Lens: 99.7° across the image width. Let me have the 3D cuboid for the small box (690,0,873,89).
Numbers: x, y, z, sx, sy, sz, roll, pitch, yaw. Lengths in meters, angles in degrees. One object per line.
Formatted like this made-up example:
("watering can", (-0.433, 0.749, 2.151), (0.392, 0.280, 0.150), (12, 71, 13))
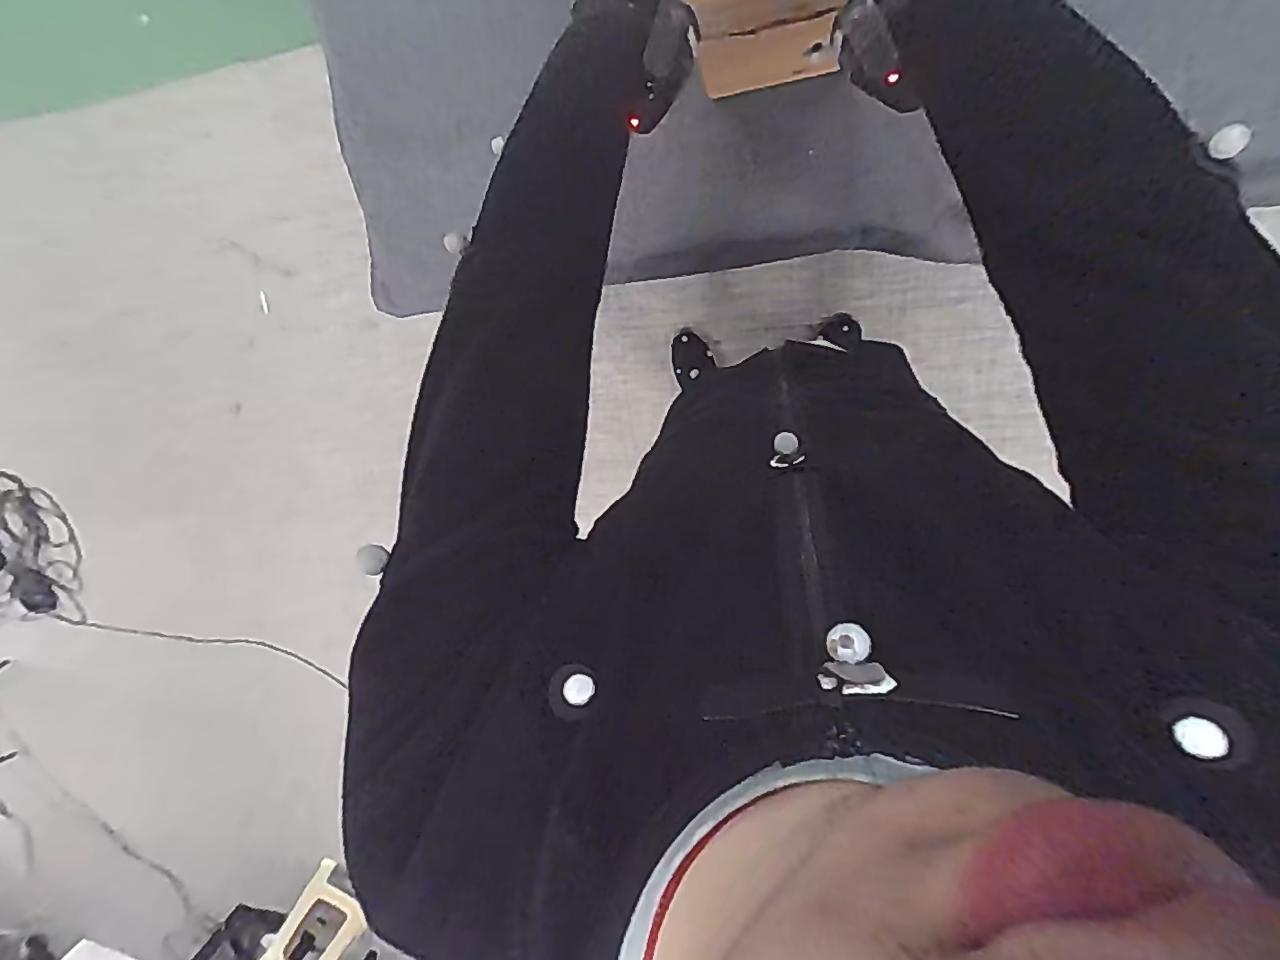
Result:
("small box", (0.135, -0.524, 0.542), (0.168, 0.176, 0.179), (-4, 109, 13))

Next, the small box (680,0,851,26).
("small box", (0.101, -0.470, 0.395), (0.168, 0.176, 0.179), (-3, 113, 10))
